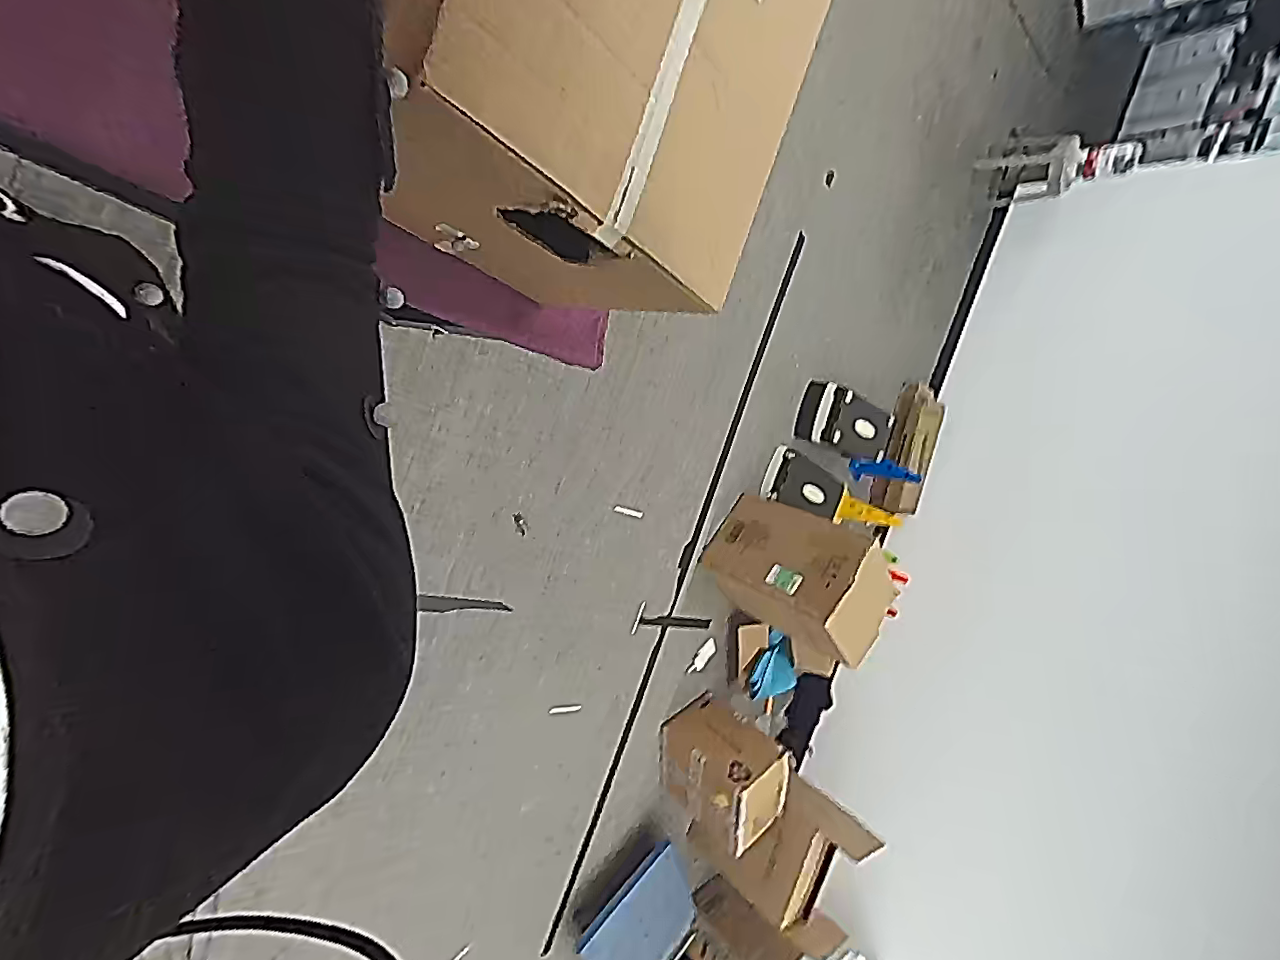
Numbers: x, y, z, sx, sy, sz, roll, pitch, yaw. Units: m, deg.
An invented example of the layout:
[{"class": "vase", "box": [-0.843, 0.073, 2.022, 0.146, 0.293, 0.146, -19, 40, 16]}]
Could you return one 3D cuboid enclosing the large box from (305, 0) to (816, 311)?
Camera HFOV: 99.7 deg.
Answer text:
[{"class": "large box", "box": [-0.070, -0.415, 0.525, 0.320, 0.320, 0.408, 18, 91, -47]}]
